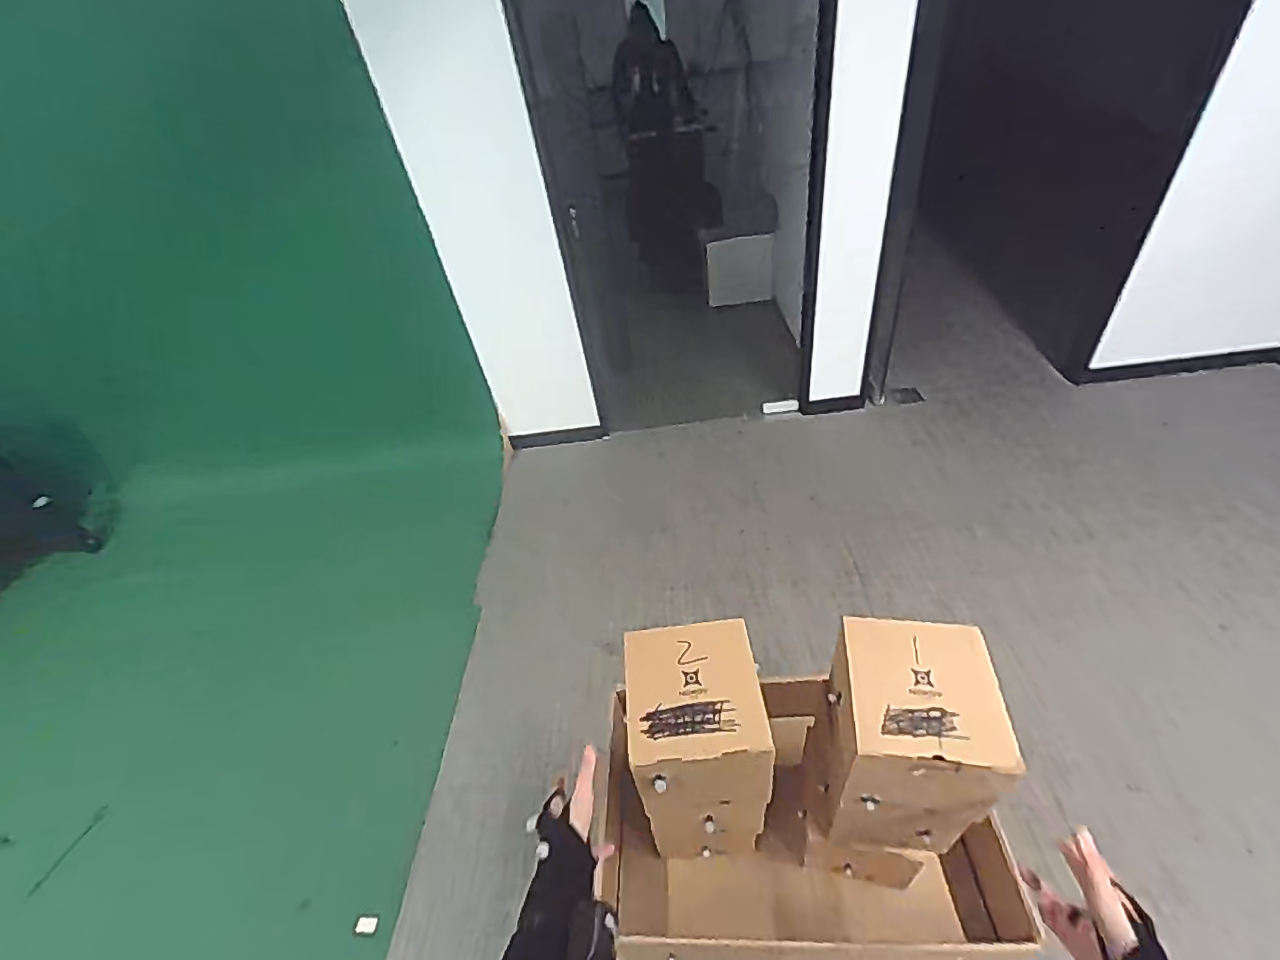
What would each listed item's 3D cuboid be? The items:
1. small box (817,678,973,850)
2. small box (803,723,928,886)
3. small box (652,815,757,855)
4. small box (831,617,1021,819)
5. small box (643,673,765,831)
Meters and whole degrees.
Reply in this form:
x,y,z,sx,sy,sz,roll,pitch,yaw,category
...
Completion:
x,y,z,sx,sy,sz,roll,pitch,yaw,category
0.357,0.416,0.792,0.168,0.176,0.179,0,43,11,small box
0.362,0.538,0.901,0.168,0.176,0.179,3,44,15,small box
0.110,0.535,0.956,0.168,0.176,0.179,-7,42,5,small box
0.338,0.298,0.680,0.168,0.176,0.179,2,43,13,small box
0.097,0.424,0.836,0.168,0.176,0.179,-6,42,4,small box
